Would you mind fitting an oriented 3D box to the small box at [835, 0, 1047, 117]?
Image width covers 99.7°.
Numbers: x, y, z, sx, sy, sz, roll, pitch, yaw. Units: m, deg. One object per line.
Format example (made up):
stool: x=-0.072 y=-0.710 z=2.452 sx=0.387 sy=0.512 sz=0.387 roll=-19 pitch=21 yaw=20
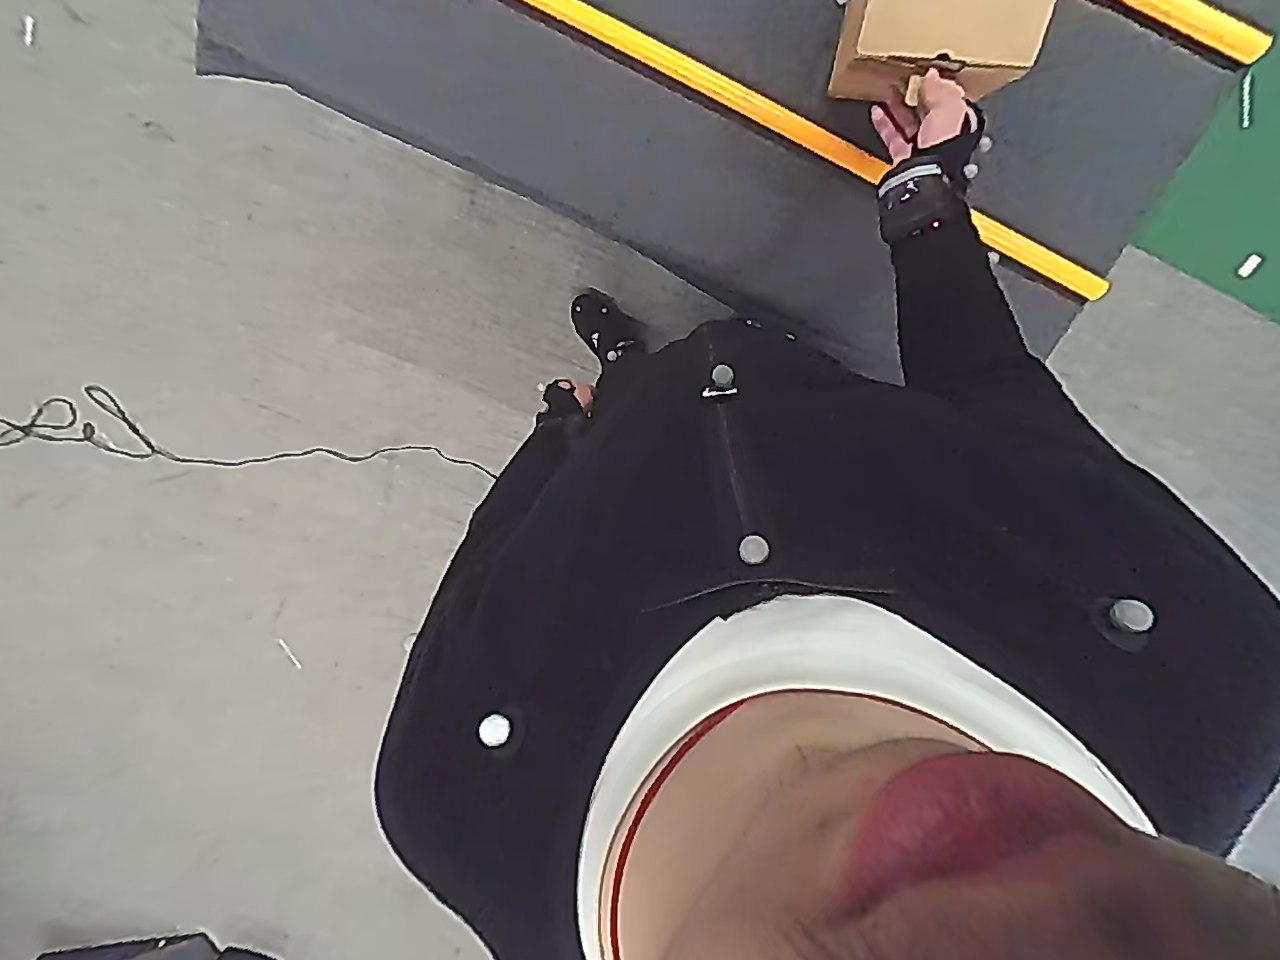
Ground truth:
small box: x=0.312 y=-0.502 z=0.570 sx=0.168 sy=0.176 sz=0.179 roll=8 pitch=113 yaw=9
